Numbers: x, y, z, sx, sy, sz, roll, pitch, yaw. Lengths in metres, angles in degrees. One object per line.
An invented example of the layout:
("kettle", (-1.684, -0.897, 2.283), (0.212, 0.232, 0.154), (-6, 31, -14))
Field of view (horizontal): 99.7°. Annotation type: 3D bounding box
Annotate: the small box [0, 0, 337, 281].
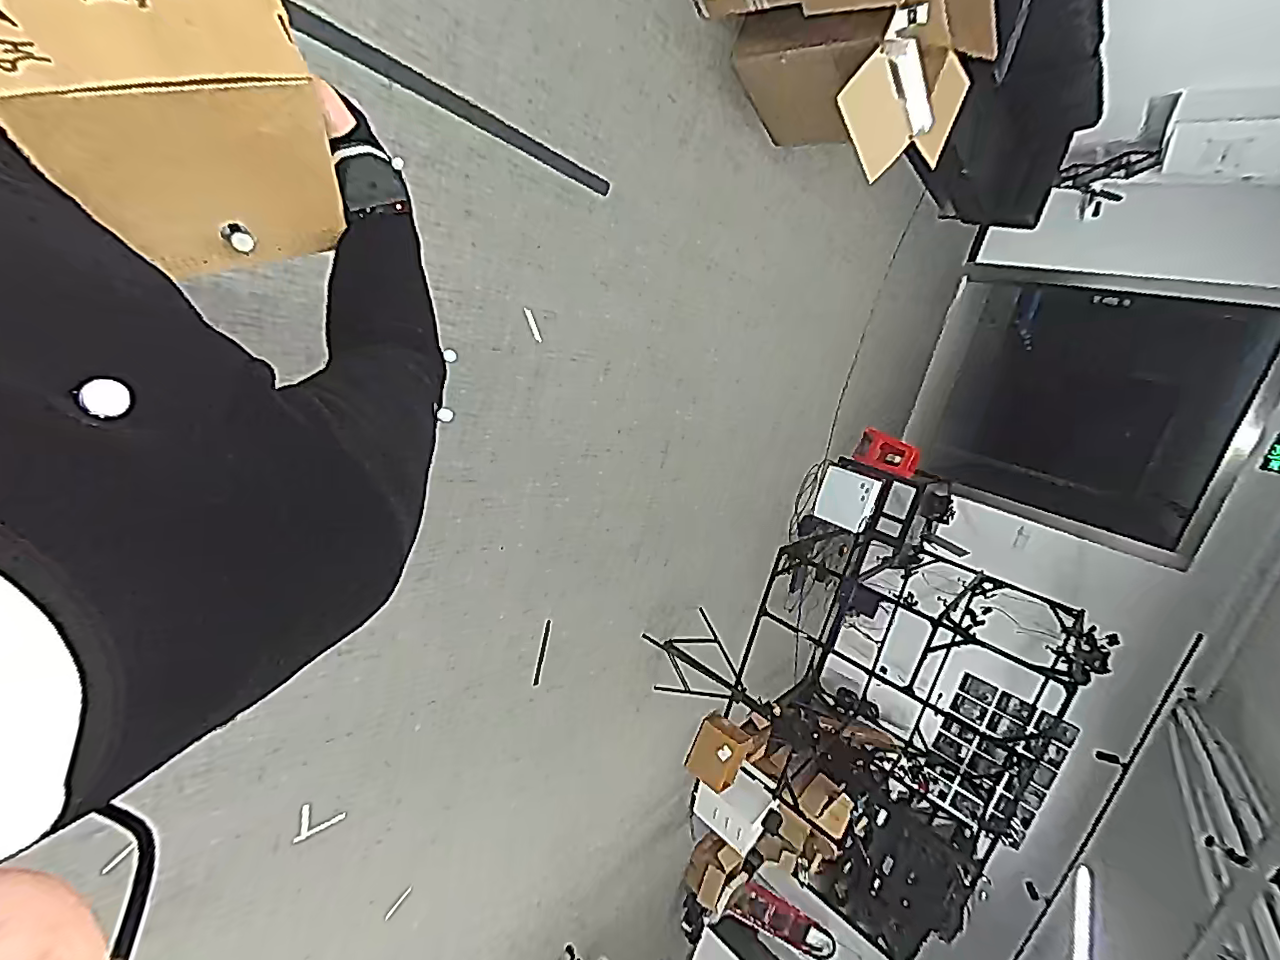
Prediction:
("small box", (-0.370, -0.294, 0.441), (0.179, 0.168, 0.176), (-26, 171, -26))
